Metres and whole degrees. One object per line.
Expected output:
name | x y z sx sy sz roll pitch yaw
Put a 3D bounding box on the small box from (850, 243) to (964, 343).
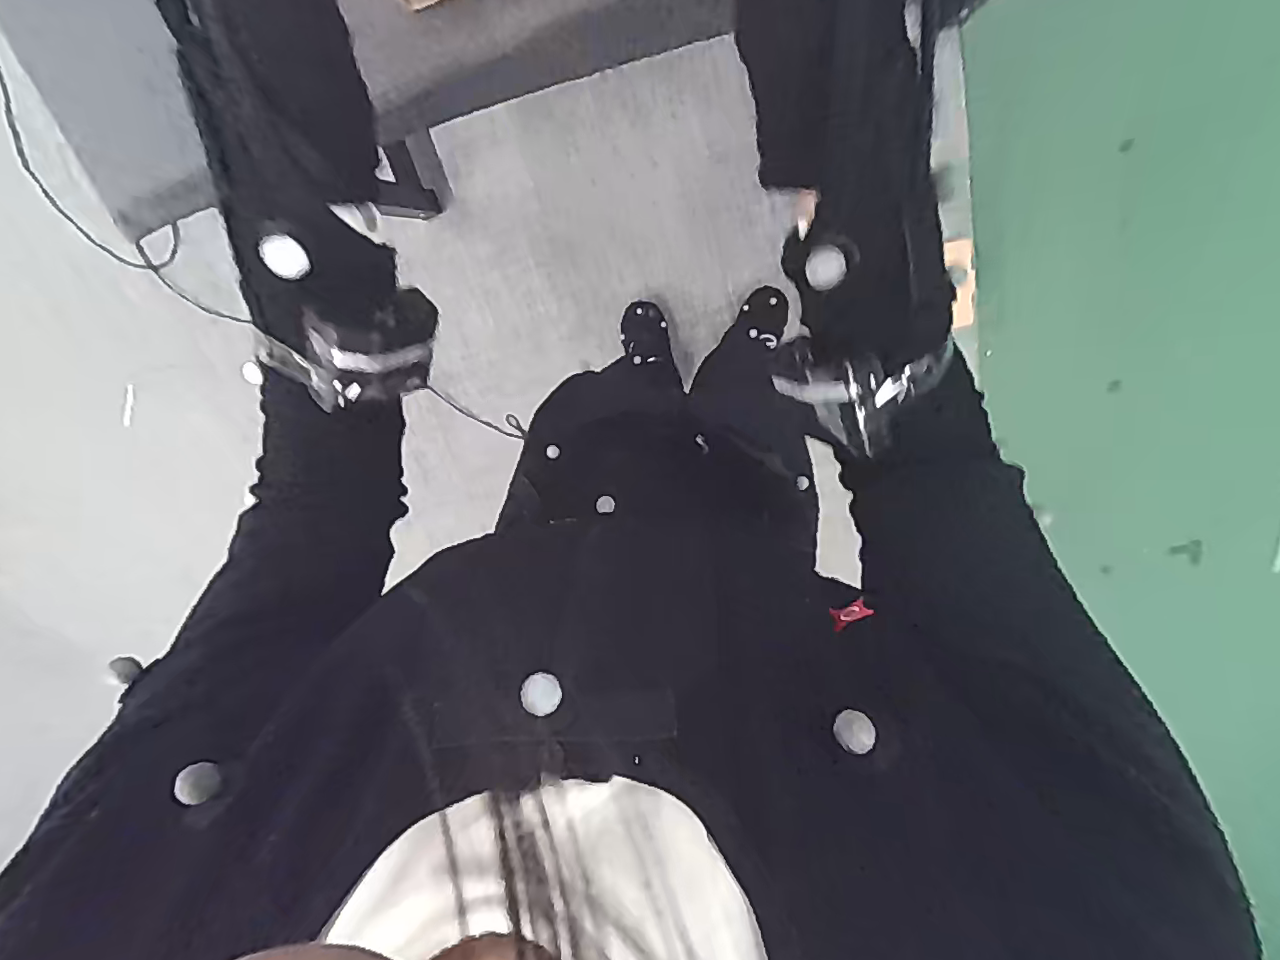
small box | 0.561 -0.400 1.149 0.179 0.176 0.168 -9 111 12
